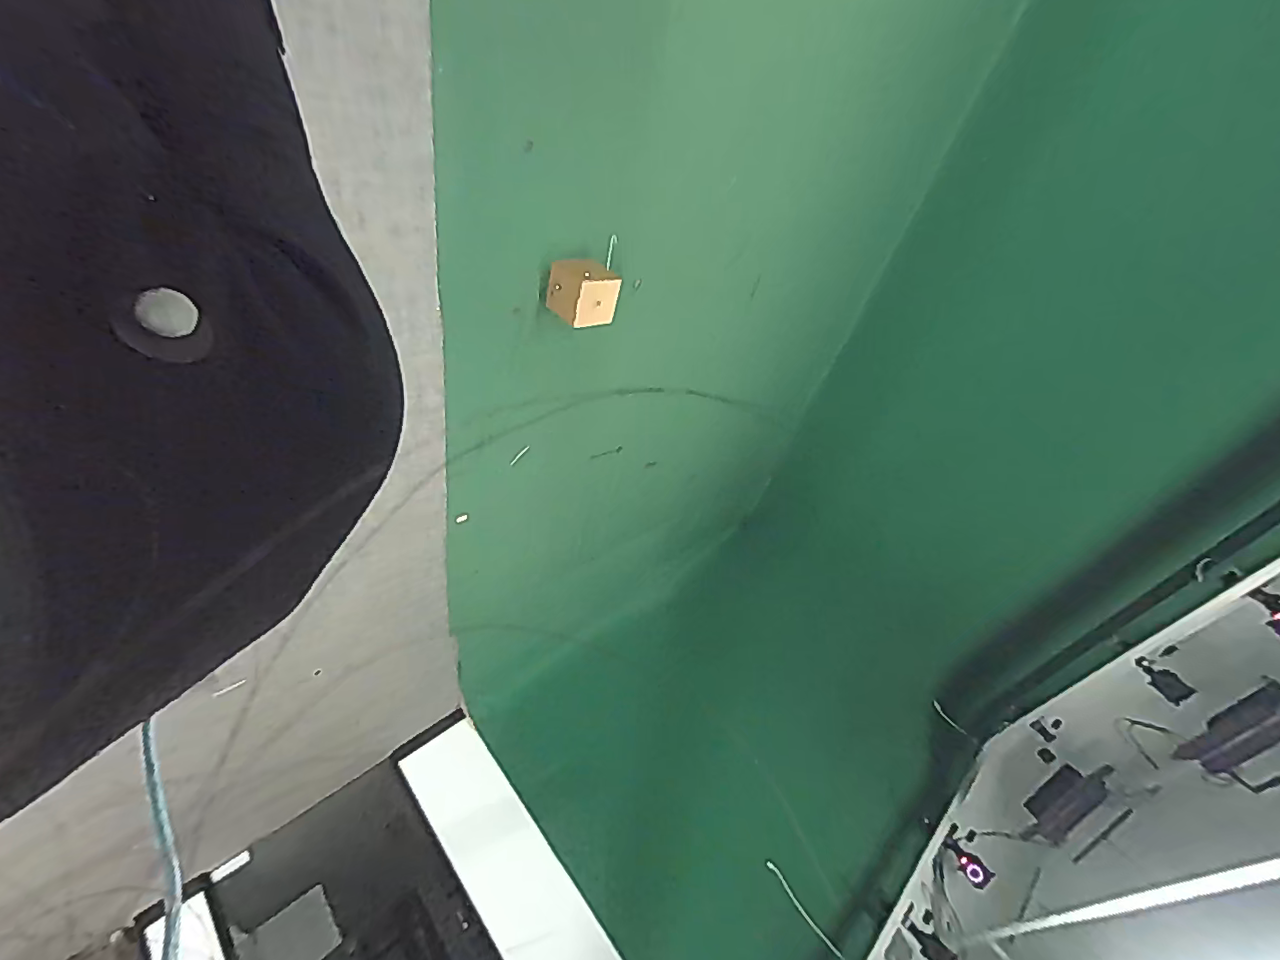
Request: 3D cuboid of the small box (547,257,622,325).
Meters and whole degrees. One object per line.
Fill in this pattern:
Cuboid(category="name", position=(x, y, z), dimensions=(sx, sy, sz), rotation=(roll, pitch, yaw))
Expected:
Cuboid(category="small box", position=(-0.195, -0.660, 1.876), dimensions=(0.179, 0.176, 0.168), rotation=(-22, 144, -39))
